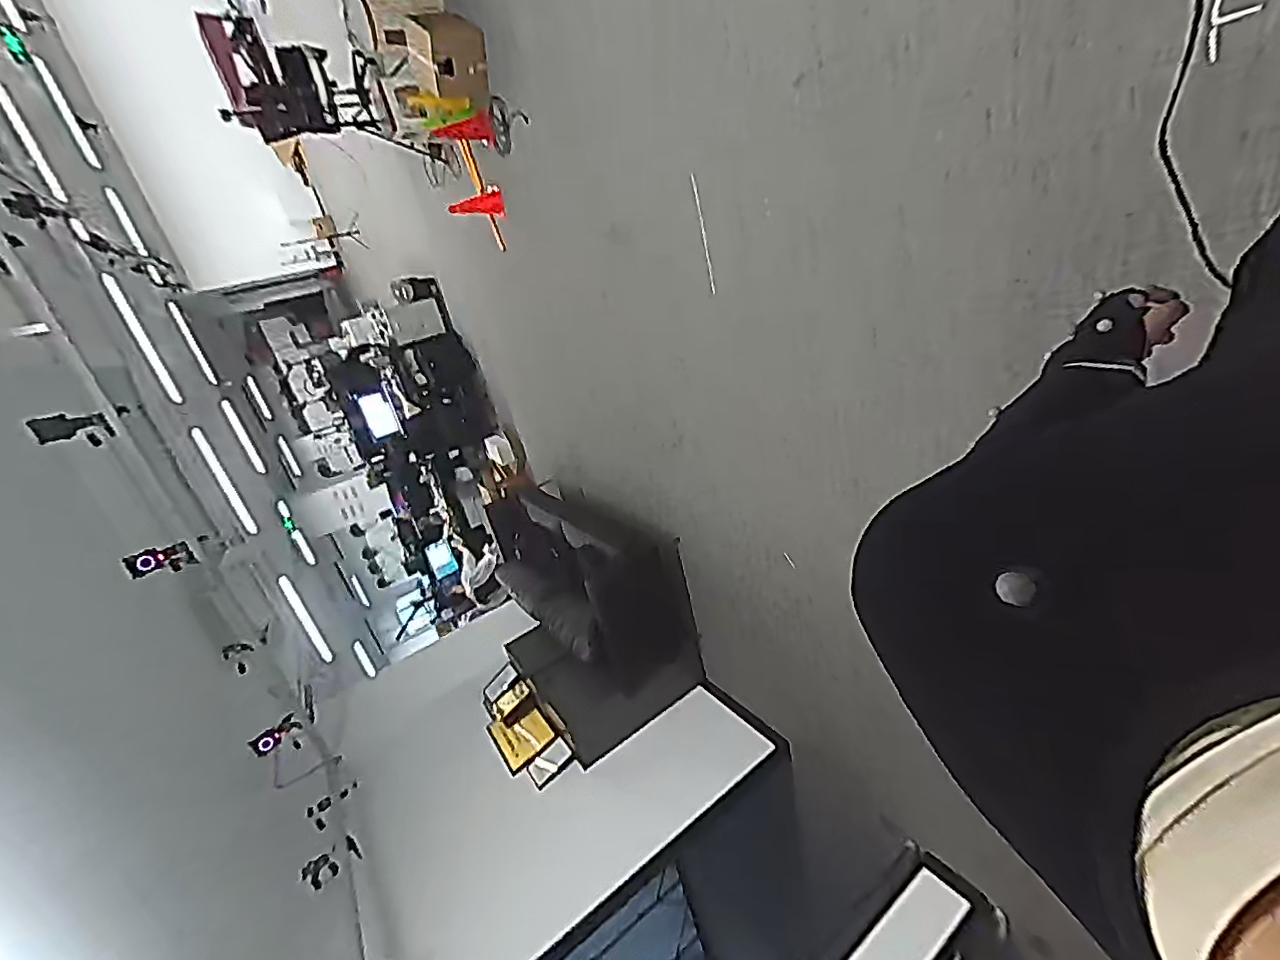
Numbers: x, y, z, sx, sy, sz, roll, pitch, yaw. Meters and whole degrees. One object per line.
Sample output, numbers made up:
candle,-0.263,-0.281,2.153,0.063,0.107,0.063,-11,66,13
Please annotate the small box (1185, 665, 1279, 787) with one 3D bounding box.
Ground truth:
small box,1.490,0.586,1.312,0.179,0.176,0.168,27,135,50
